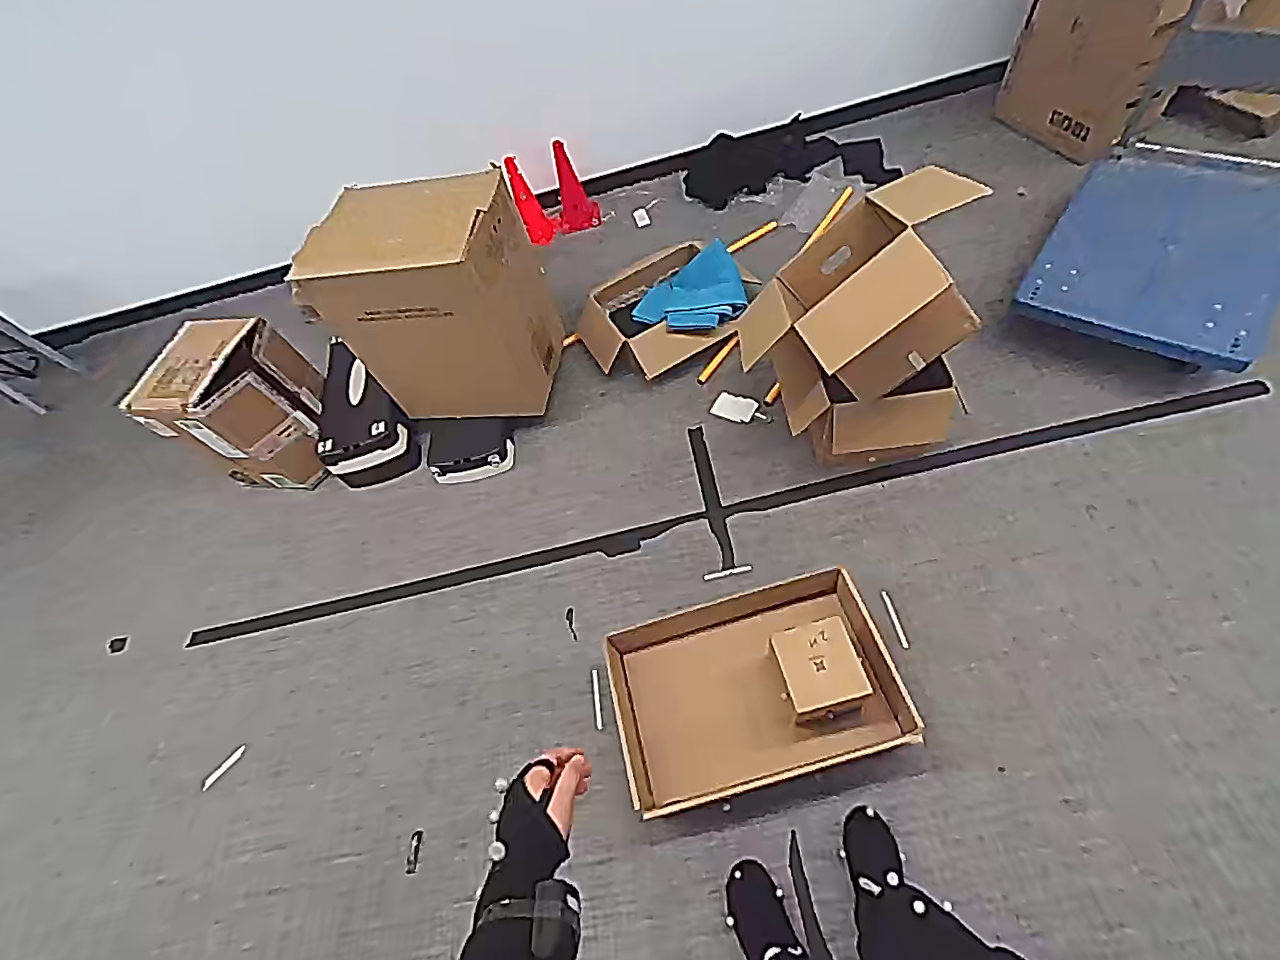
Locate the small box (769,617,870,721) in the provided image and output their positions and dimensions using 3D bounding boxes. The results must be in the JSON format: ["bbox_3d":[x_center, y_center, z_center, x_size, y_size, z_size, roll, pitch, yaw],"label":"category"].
[{"bbox_3d":[0.403,0.441,1.240,0.168,0.176,0.179,-16,55,2],"label":"small box"}]
